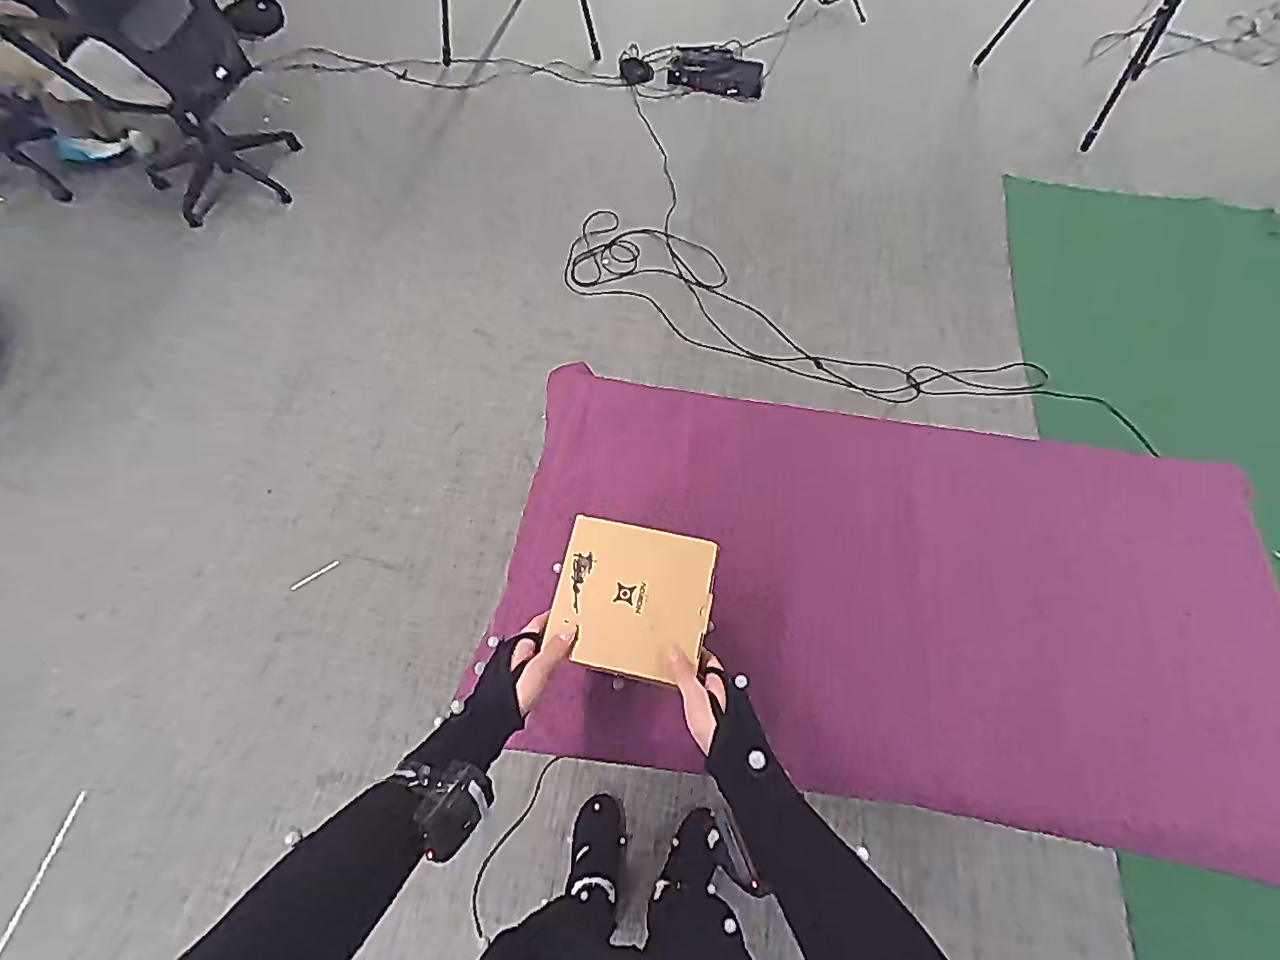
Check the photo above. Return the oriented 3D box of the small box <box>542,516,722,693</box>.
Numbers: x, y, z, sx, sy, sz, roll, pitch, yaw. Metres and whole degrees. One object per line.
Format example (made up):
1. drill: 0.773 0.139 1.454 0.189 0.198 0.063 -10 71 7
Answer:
1. small box: -0.006 0.163 0.684 0.179 0.176 0.168 12 68 5
